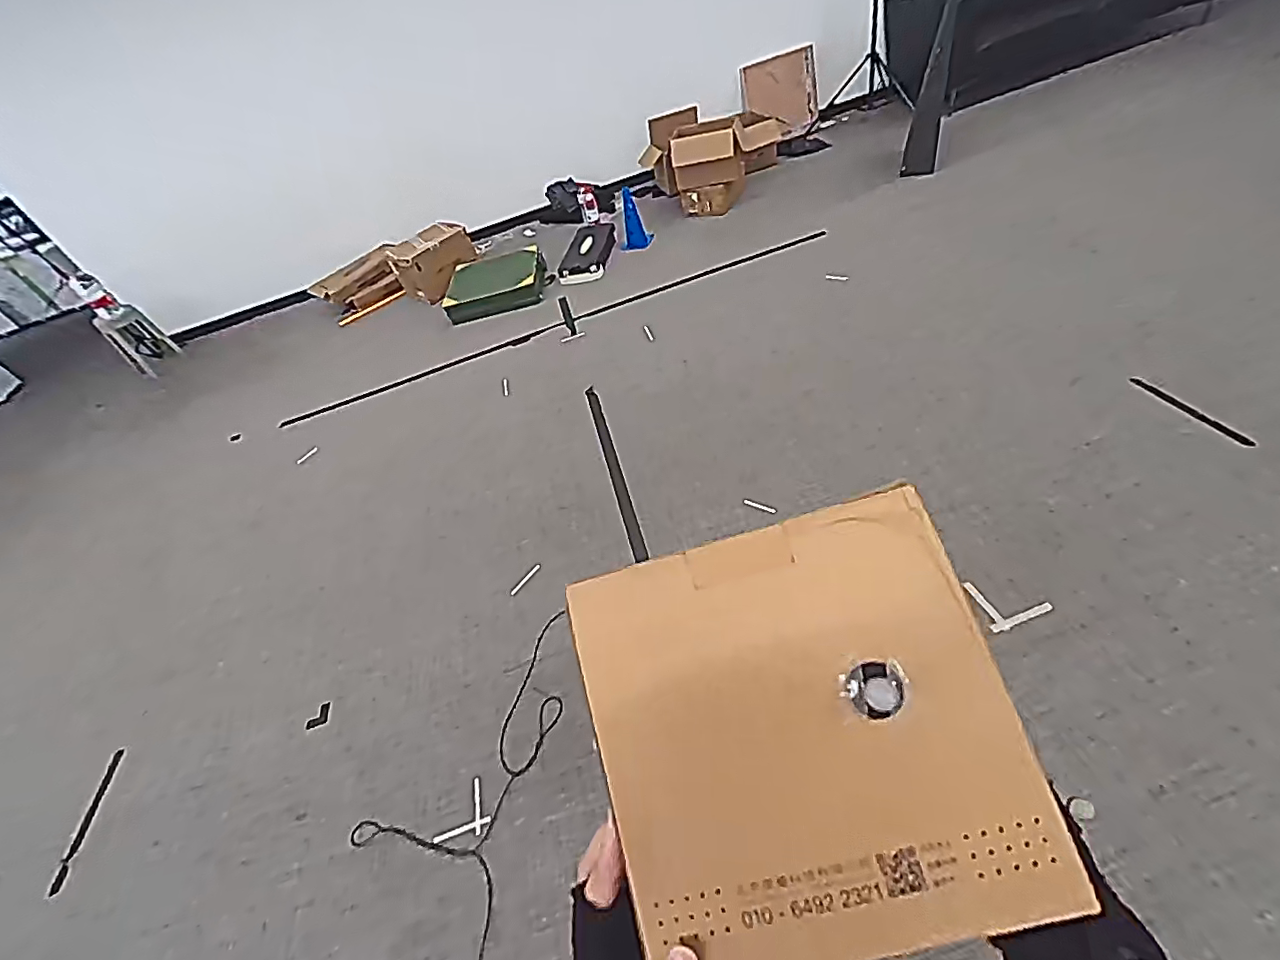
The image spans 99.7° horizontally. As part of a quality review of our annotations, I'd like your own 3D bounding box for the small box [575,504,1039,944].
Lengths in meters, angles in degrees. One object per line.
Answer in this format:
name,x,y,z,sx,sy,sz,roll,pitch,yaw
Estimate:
small box,0.082,0.131,0.318,0.168,0.179,0.176,-18,74,8
